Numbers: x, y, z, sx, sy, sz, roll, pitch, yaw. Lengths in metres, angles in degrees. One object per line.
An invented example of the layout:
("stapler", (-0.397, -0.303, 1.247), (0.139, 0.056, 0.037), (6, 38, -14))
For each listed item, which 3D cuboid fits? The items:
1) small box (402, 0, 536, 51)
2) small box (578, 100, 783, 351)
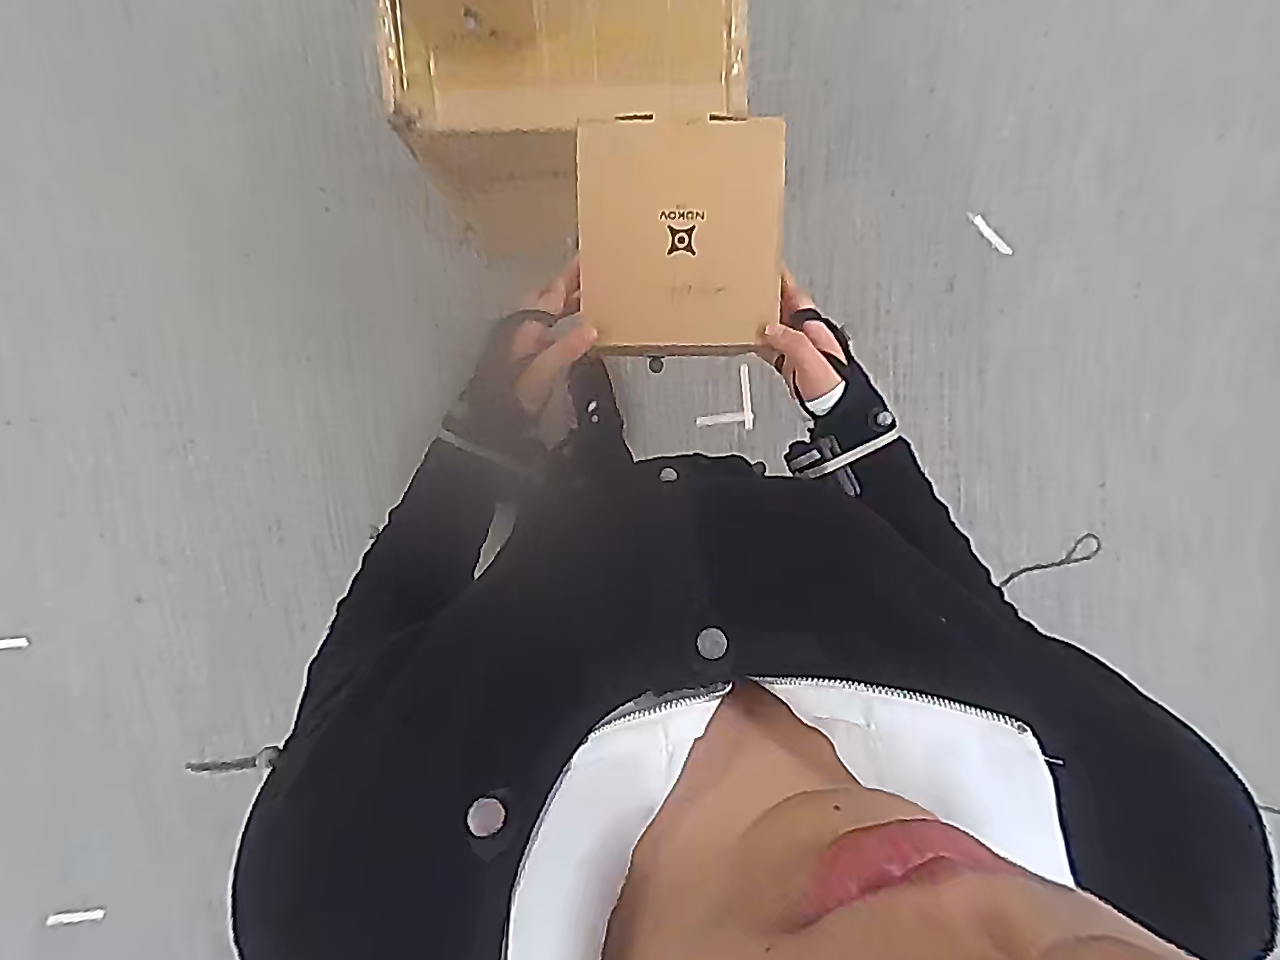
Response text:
("small box", (-0.227, -0.684, 0.673), (0.168, 0.176, 0.179), (-5, 98, -4))
("small box", (0.027, -0.220, 0.513), (0.168, 0.176, 0.179), (-1, 100, -2))
